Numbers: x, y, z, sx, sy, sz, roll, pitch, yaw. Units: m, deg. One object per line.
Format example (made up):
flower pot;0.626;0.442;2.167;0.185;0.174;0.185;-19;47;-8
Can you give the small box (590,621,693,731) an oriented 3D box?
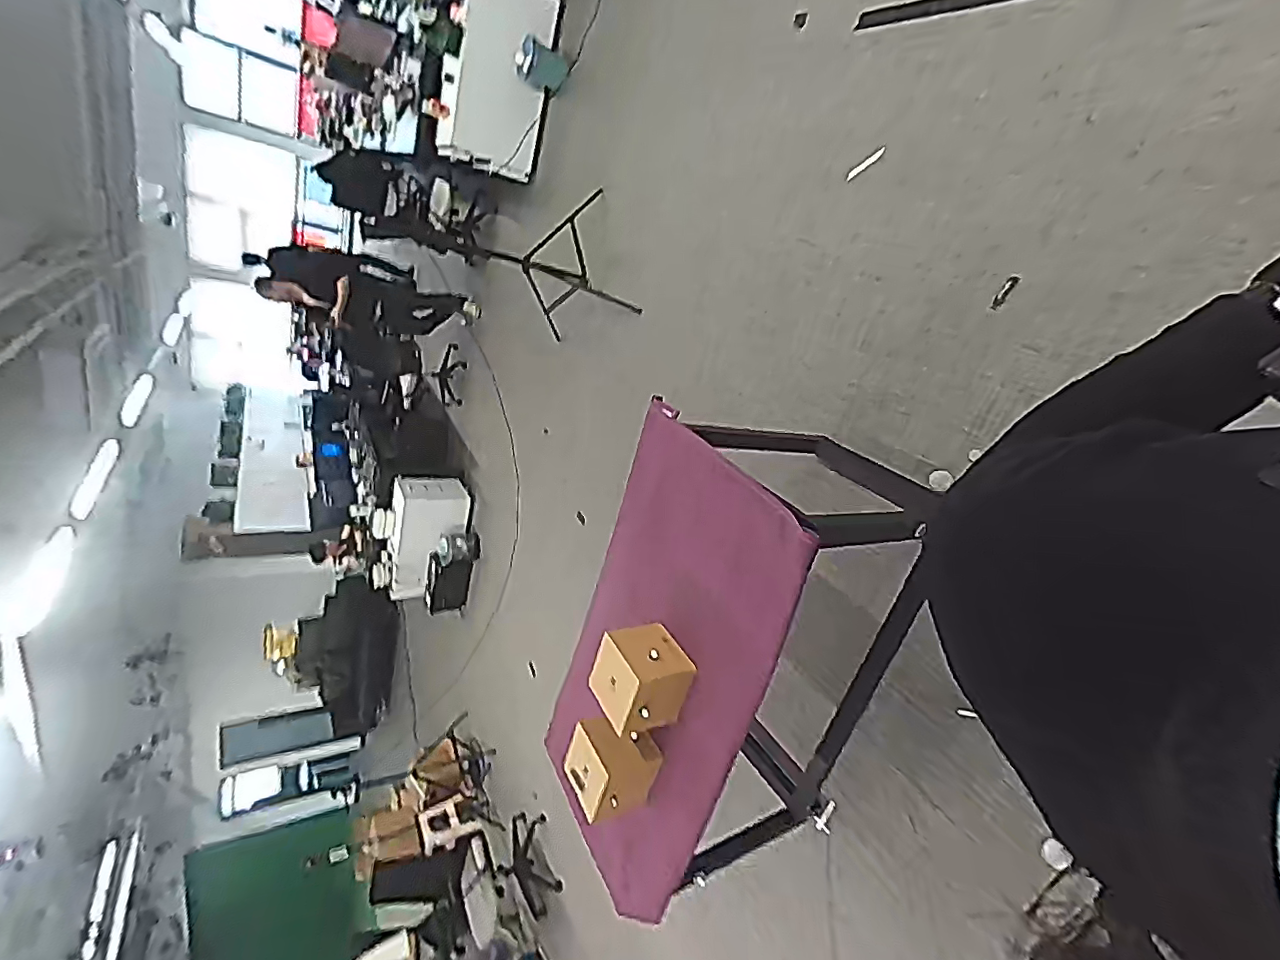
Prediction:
small box;0.006;0.461;1.300;0.168;0.176;0.179;43;123;48

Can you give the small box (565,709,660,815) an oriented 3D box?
small box;-0.070;0.716;1.400;0.168;0.176;0.179;43;122;47
